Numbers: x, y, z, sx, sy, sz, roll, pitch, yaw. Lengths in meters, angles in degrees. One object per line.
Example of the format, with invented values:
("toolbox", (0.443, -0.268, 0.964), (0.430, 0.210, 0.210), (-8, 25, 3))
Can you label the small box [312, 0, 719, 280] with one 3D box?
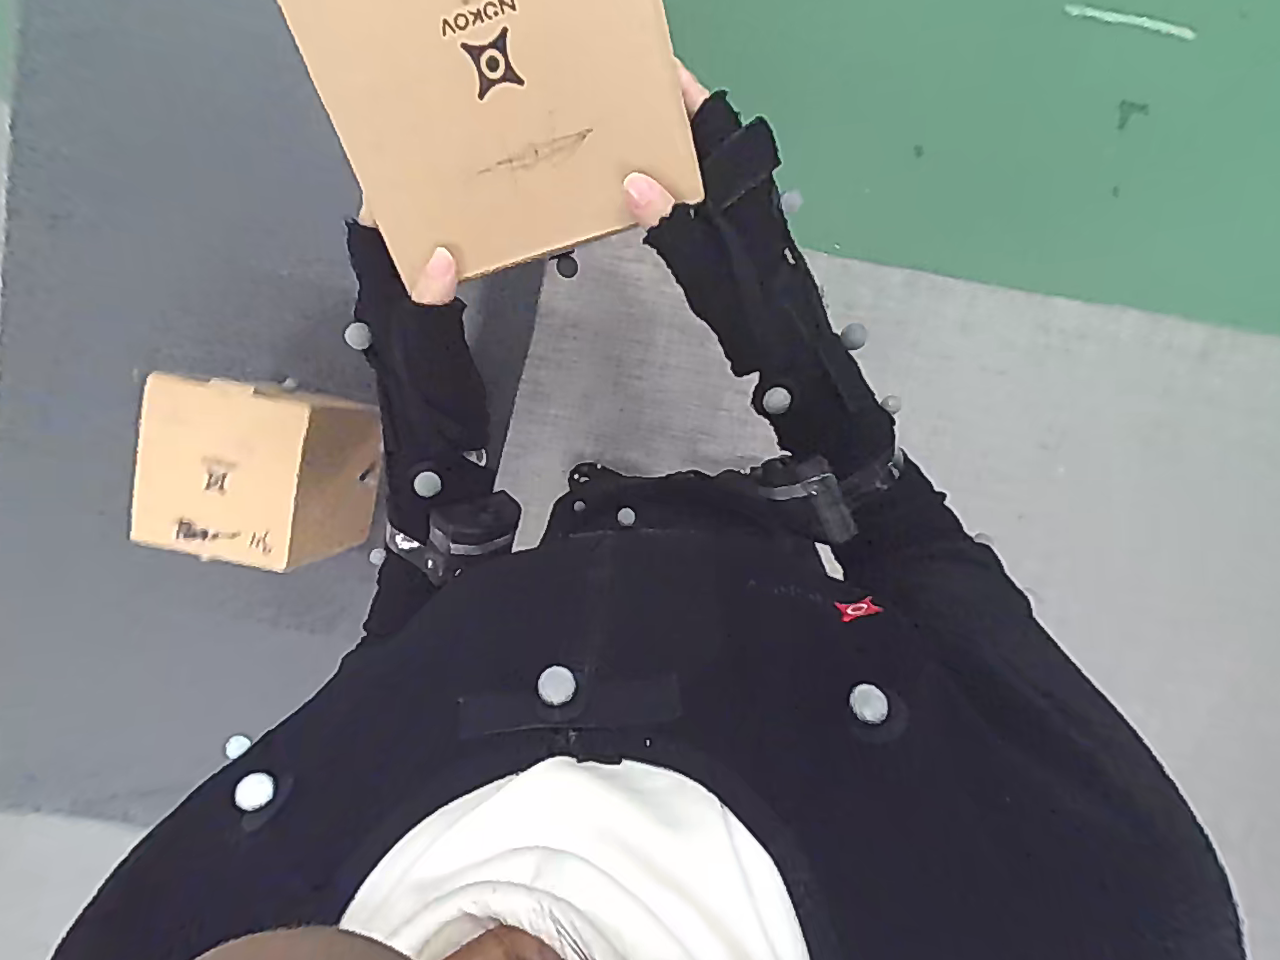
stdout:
("small box", (-0.060, -0.233, 0.323), (0.168, 0.176, 0.179), (-14, 114, 6))

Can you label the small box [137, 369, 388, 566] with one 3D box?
("small box", (-0.419, -0.018, 0.630), (0.168, 0.176, 0.179), (12, 95, 1))
